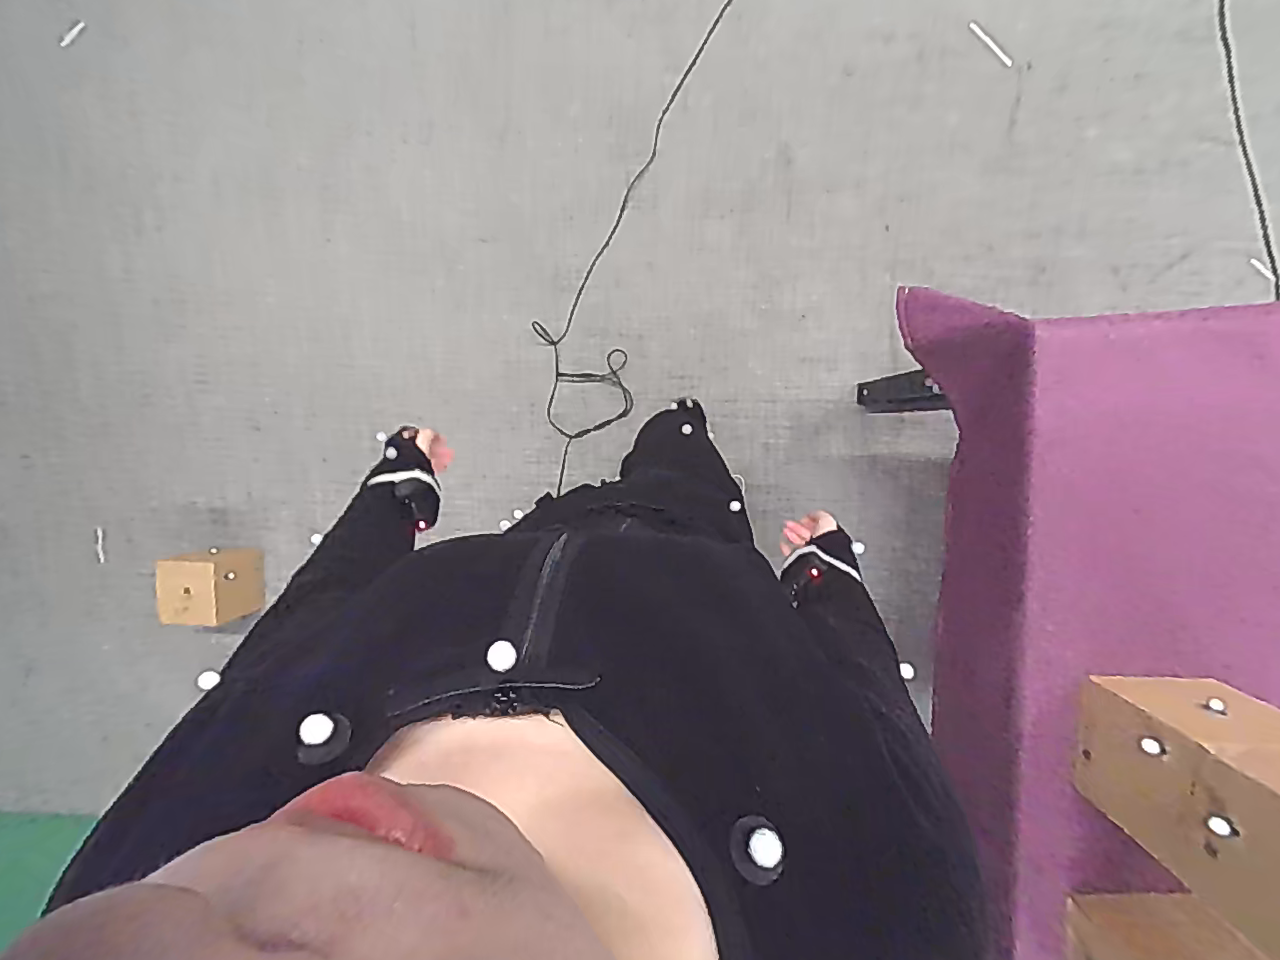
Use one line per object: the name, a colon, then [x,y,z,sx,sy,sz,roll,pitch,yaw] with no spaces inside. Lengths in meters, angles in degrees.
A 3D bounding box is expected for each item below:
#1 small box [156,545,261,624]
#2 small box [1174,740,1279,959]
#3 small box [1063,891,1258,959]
small box: [-1.195,0.284,1.507,0.168,0.176,0.179,2,96,4]
small box: [0.677,0.369,0.508,0.179,0.176,0.168,1,95,3]
small box: [0.699,0.676,0.703,0.179,0.176,0.168,-4,95,4]
